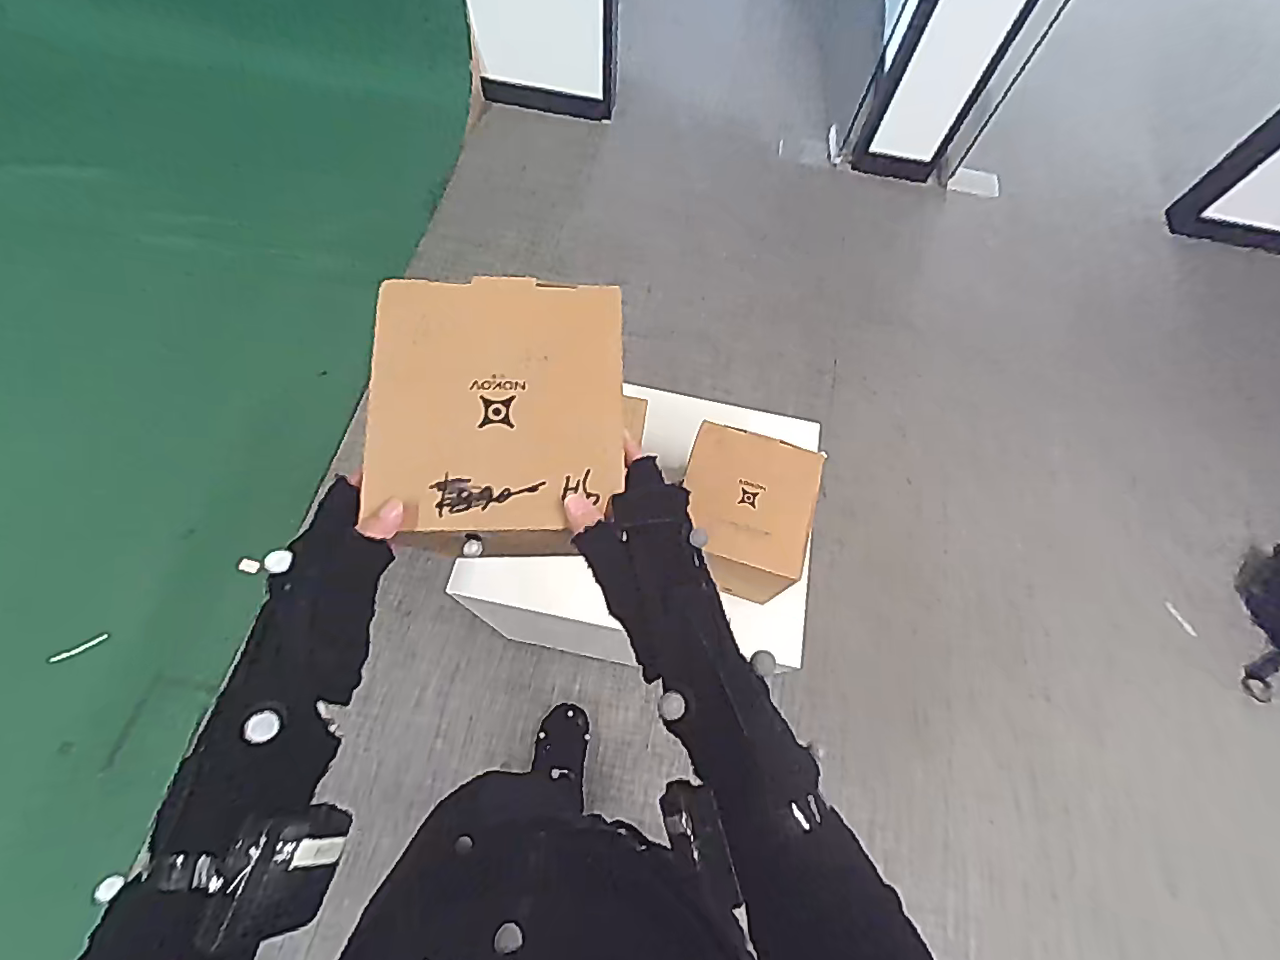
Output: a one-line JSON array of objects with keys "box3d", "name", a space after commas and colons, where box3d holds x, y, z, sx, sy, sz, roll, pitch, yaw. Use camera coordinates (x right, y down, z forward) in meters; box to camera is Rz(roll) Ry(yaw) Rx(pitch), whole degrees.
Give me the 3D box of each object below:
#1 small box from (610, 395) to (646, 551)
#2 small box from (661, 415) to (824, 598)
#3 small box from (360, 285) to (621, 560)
[{"box3d": [-0.091, -0.013, 0.761, 0.168, 0.176, 0.179, 11, 66, 1], "name": "small box"}, {"box3d": [0.130, 0.043, 0.736, 0.168, 0.176, 0.179, 16, 68, 4], "name": "small box"}, {"box3d": [-0.102, -0.033, 0.442, 0.168, 0.176, 0.179, 0, 75, -4], "name": "small box"}]
